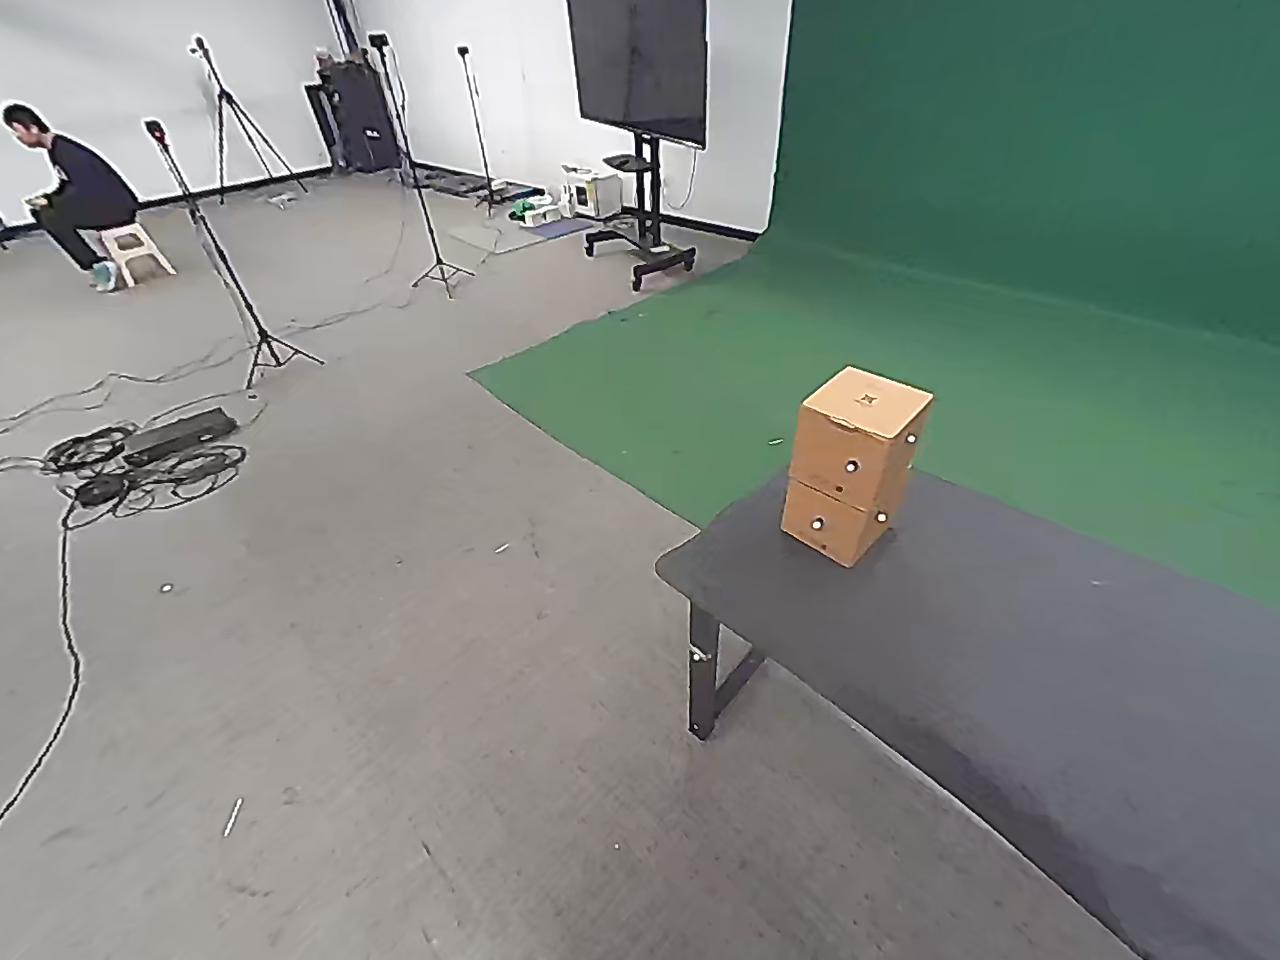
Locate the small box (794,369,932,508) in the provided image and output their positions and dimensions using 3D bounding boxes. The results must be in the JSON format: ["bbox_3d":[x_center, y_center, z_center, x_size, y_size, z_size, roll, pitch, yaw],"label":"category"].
[{"bbox_3d":[0.403,-0.077,1.003,0.168,0.176,0.179,31,50,32],"label":"small box"}]

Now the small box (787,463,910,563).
[{"bbox_3d":[0.420,0.039,1.117,0.179,0.176,0.168,-34,50,-30],"label":"small box"}]
